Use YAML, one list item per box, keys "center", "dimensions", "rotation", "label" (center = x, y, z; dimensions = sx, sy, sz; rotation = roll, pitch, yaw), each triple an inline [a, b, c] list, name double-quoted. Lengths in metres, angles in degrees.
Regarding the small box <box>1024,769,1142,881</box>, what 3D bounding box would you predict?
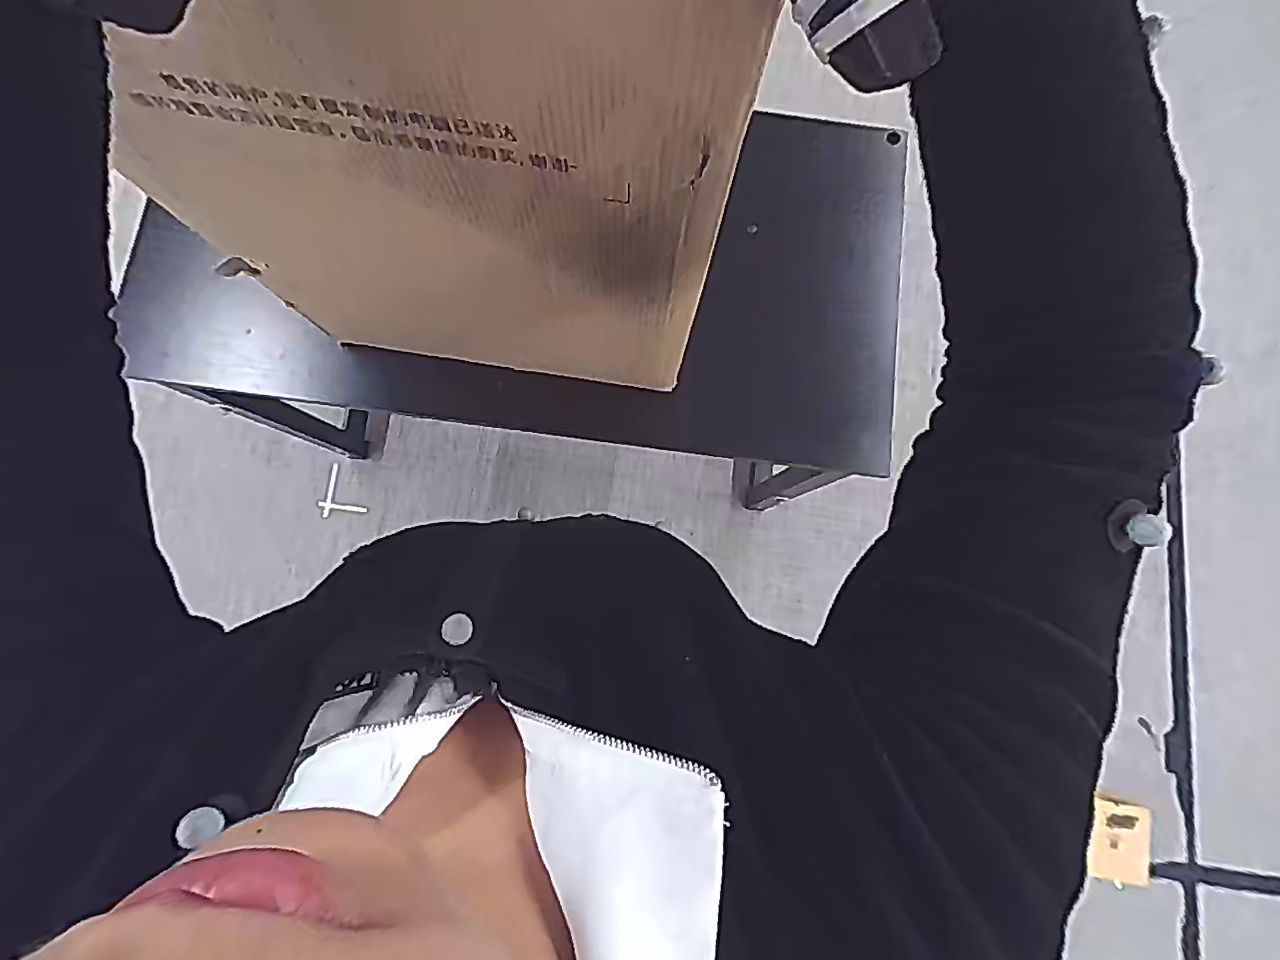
- center: [1.118, 0.866, 1.376]
  dimensions: [0.168, 0.176, 0.179]
  rotation: [12, 82, 0]
  label: "small box"
